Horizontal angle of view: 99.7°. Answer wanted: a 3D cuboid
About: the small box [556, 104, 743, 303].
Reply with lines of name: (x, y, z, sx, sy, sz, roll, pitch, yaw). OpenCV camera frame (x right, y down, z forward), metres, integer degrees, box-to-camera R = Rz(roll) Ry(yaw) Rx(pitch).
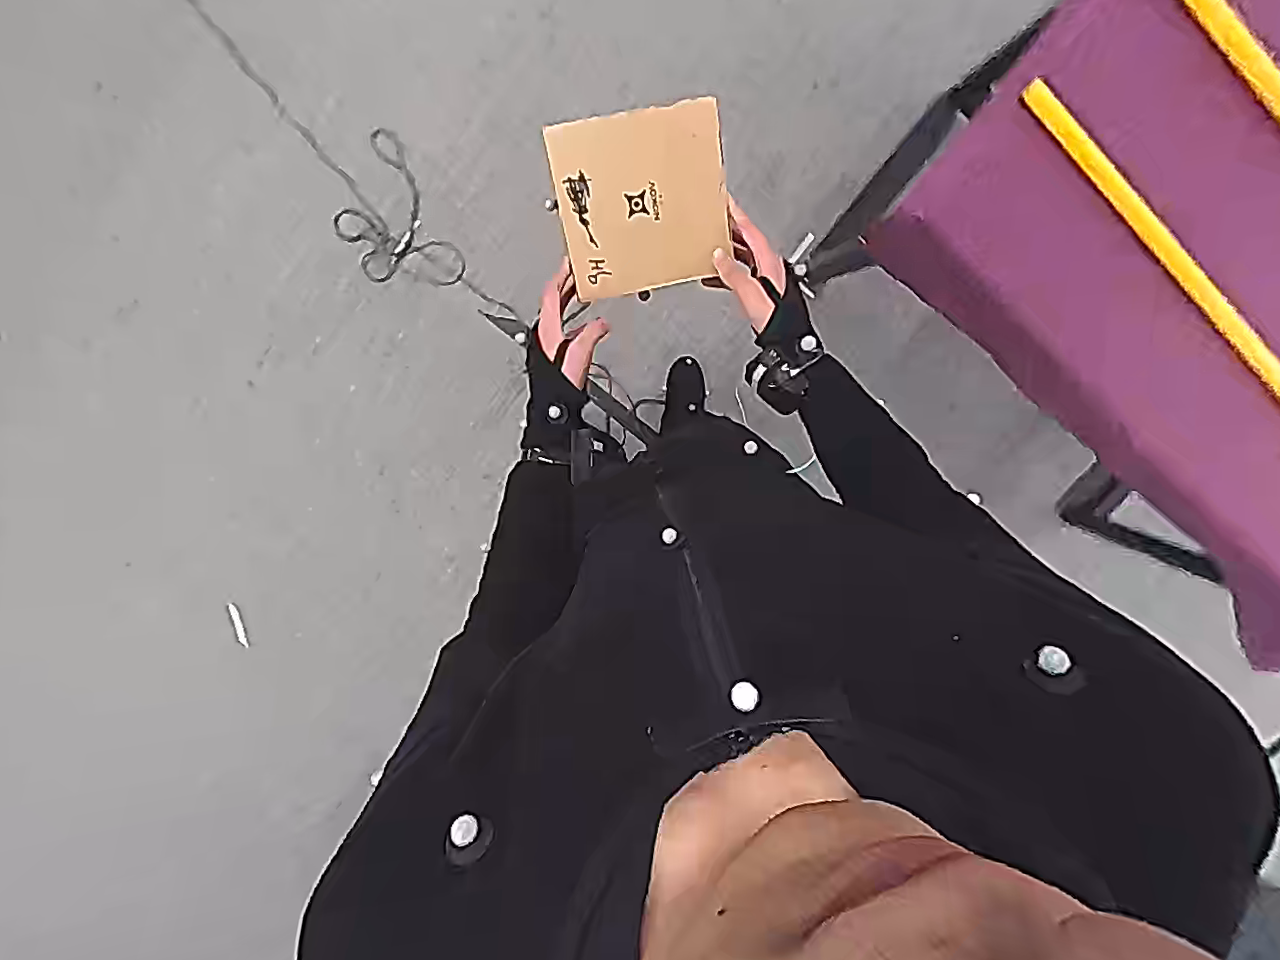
small box: (0.004, -0.306, 0.623, 0.179, 0.176, 0.168, -11, 111, -4)
